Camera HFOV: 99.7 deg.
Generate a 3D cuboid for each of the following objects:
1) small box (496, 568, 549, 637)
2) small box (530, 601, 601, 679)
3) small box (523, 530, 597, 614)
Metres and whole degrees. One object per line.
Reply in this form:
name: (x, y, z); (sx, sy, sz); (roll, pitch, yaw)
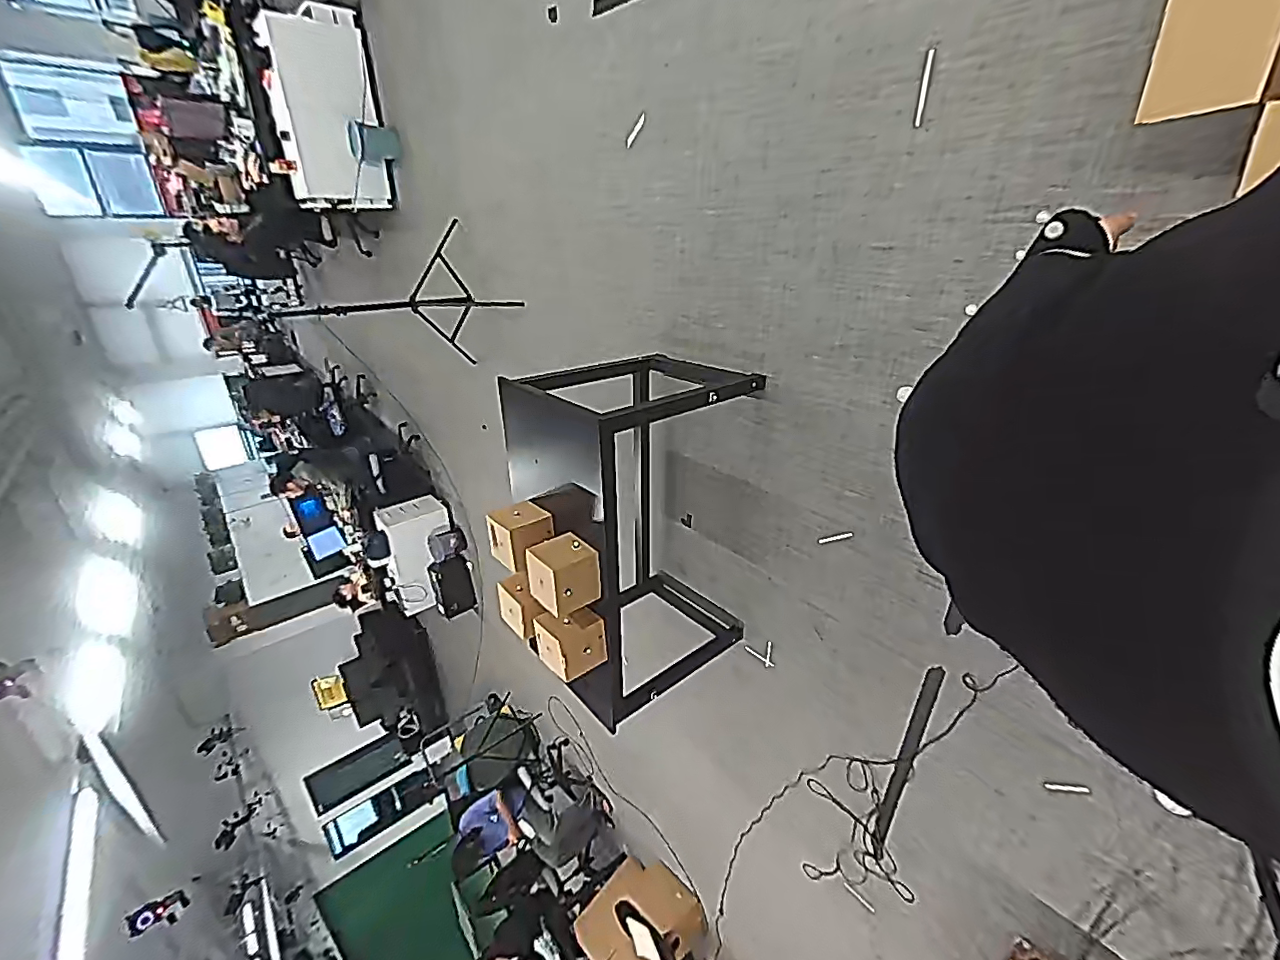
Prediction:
small box: (-0.412, 0.439, 1.995); (0.179, 0.176, 0.168); (28, 127, 43)
small box: (-0.240, 0.519, 1.801); (0.179, 0.176, 0.168); (19, 121, 47)
small box: (-0.247, 0.283, 1.700); (0.168, 0.176, 0.179); (25, 125, 44)
